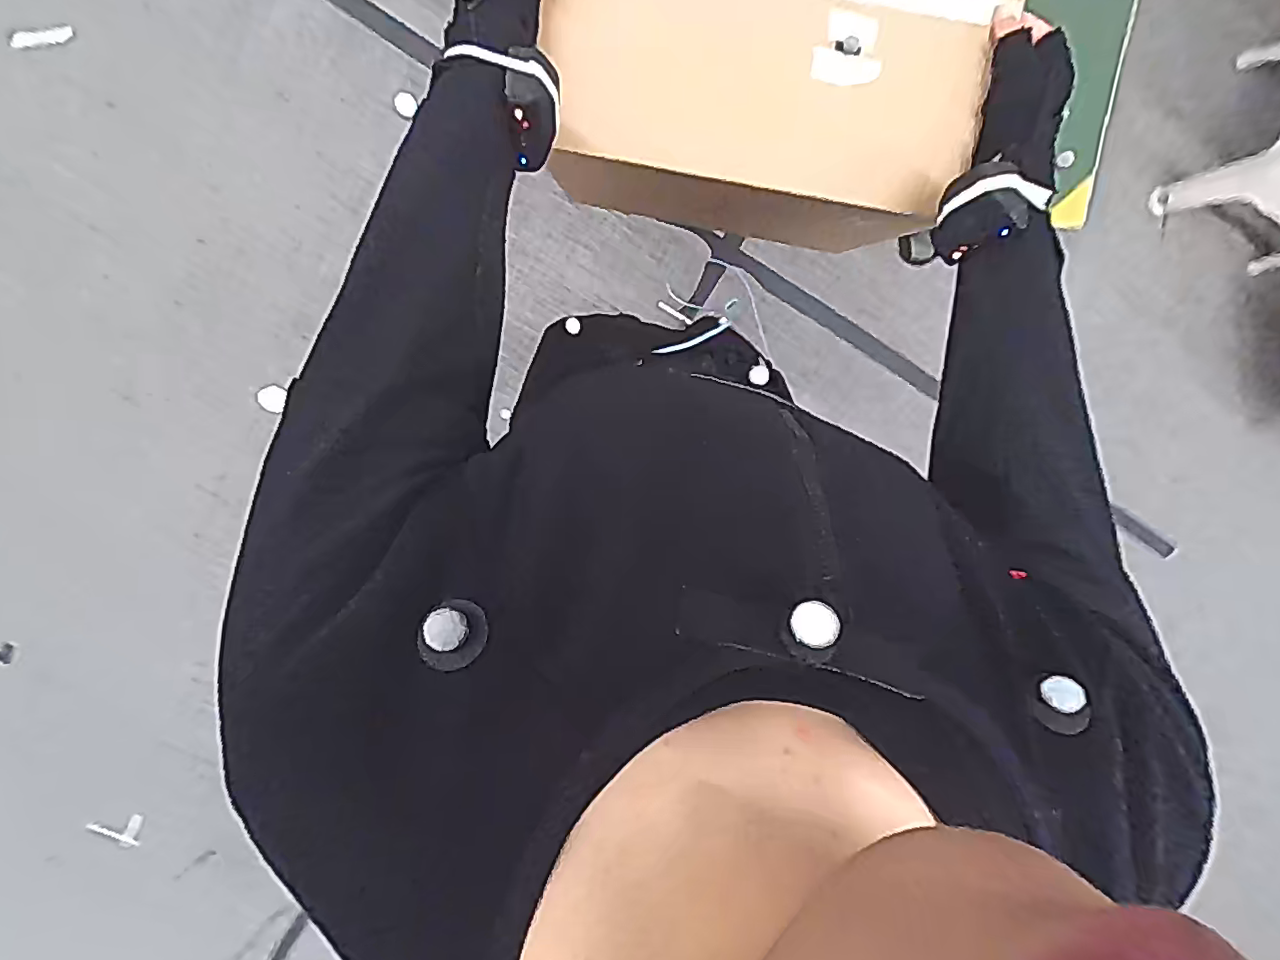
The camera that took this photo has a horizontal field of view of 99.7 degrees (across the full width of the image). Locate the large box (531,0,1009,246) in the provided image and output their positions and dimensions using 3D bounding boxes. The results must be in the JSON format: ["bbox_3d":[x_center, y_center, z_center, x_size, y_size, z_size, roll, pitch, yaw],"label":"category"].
[{"bbox_3d":[0.116,-0.469,0.599,0.408,0.320,0.320,9,108,-3],"label":"large box"}]
